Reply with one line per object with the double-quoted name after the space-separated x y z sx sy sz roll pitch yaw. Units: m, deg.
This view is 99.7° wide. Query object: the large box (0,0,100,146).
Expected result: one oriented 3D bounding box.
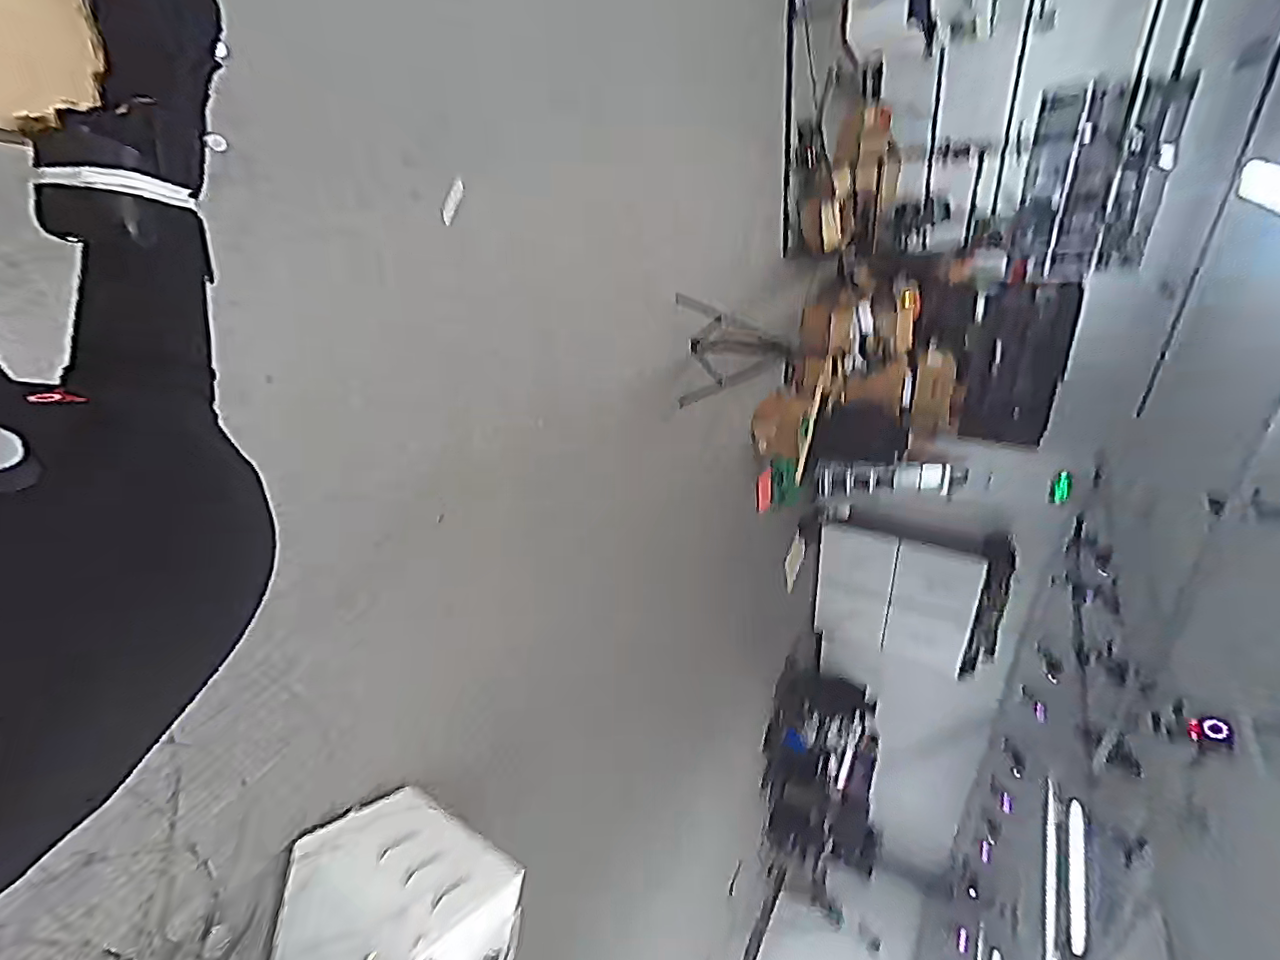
-0.571 -0.391 0.230 0.408 0.320 0.320 -16 124 -60 "large box"
